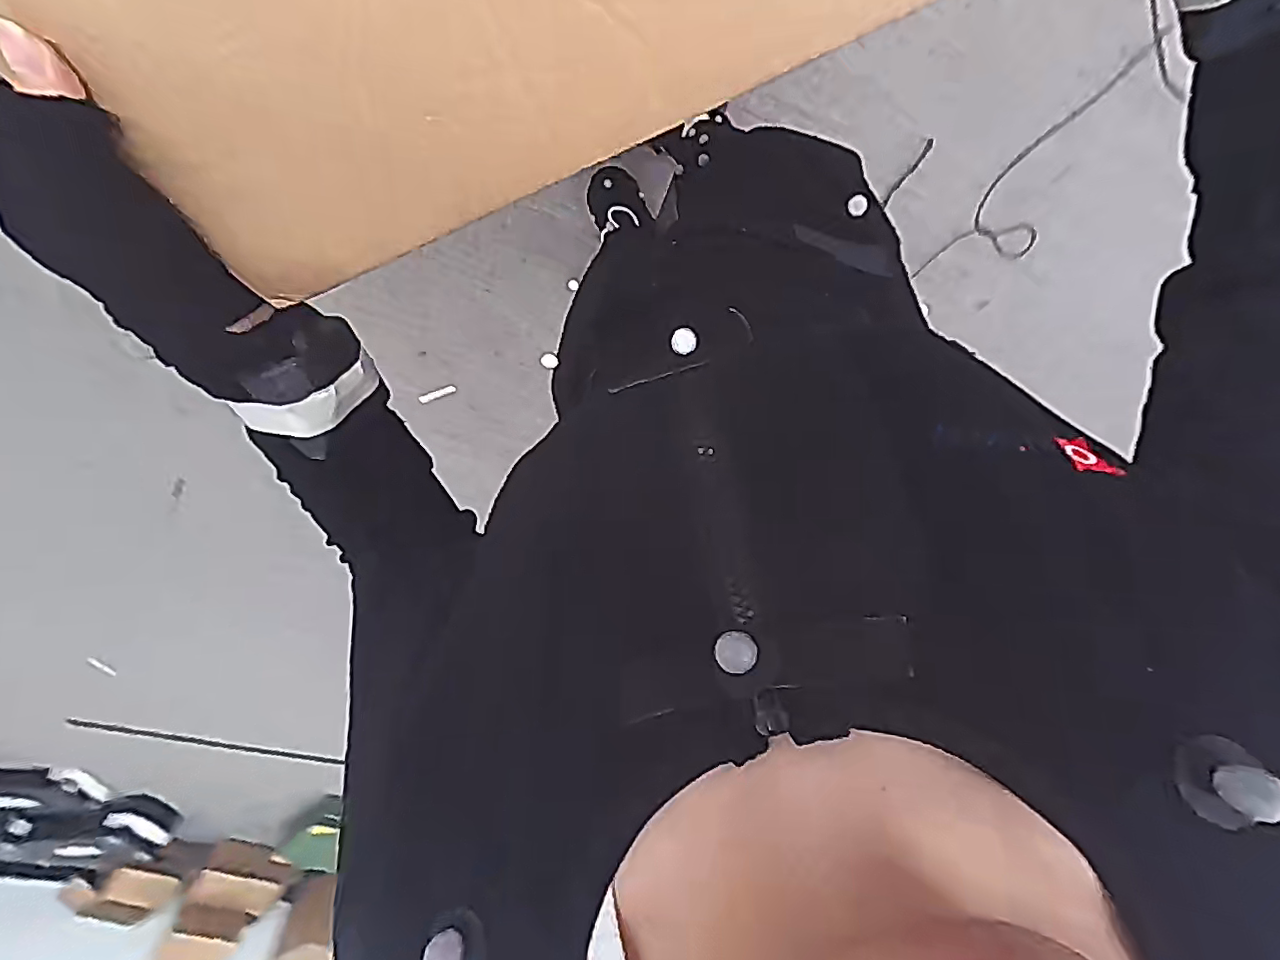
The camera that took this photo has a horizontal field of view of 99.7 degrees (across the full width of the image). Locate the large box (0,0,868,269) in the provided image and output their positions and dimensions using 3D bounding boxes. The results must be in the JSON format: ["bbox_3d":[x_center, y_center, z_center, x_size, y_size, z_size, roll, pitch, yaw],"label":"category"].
[{"bbox_3d":[-0.067,-0.361,0.198,0.408,0.320,0.320,-16,143,13],"label":"large box"}]
